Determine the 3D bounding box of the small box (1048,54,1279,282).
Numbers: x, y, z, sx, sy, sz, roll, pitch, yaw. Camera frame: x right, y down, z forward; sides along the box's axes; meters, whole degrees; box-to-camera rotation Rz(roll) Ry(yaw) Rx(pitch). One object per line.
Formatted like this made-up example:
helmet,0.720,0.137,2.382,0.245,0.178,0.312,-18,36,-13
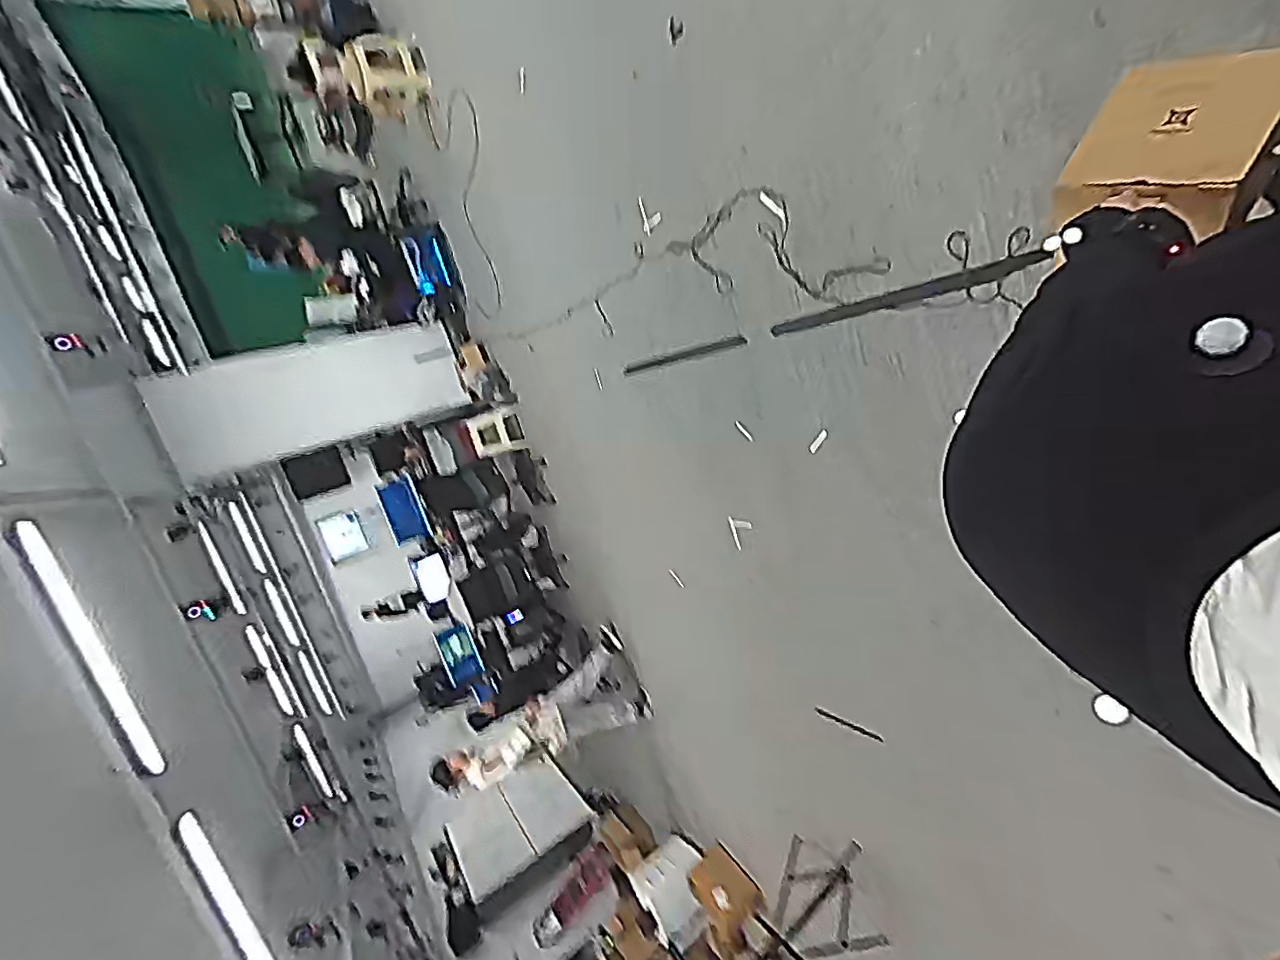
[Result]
small box,0.650,-0.375,0.677,0.168,0.179,0.176,30,180,42
